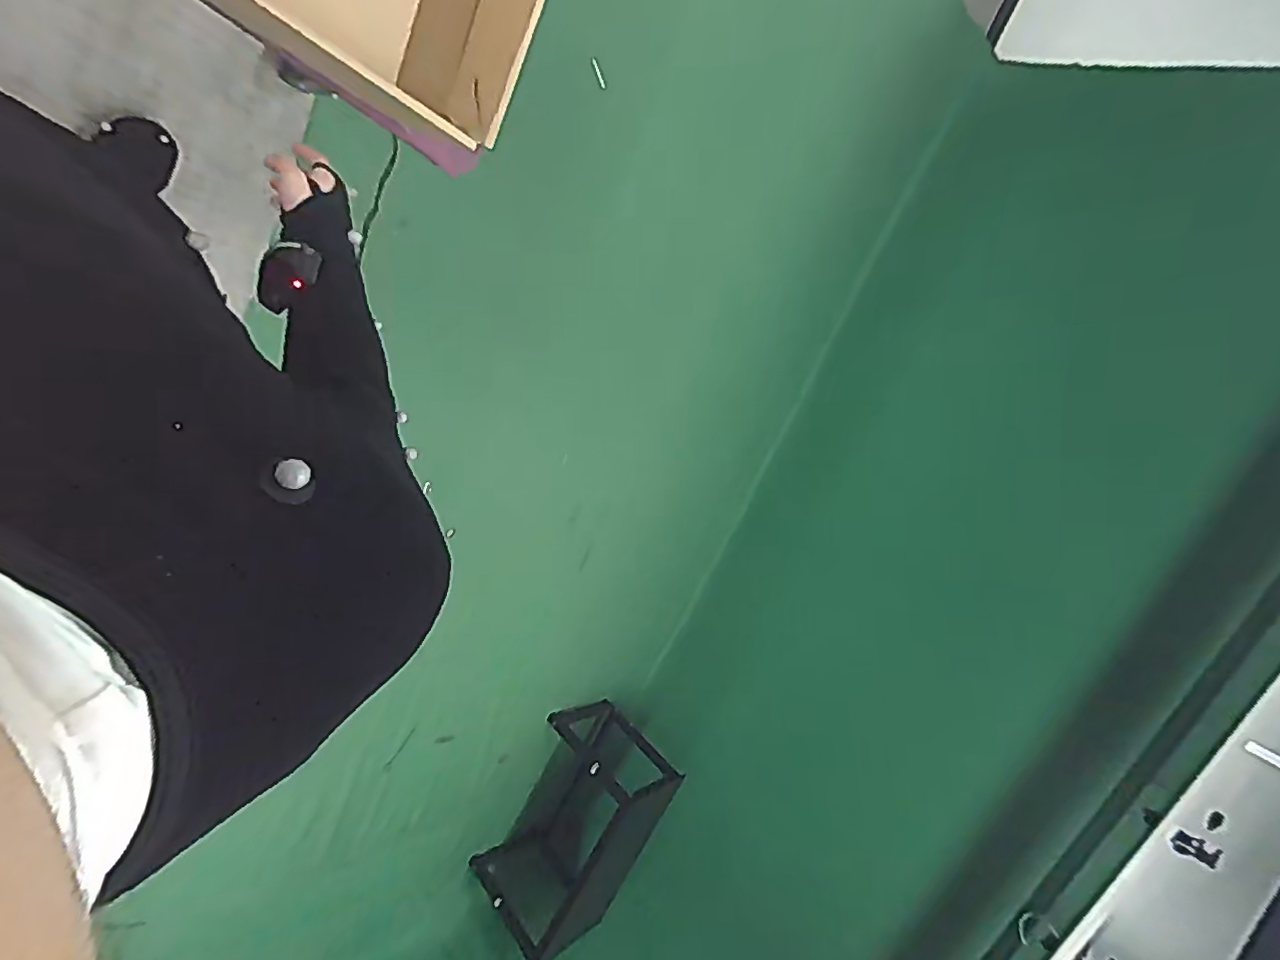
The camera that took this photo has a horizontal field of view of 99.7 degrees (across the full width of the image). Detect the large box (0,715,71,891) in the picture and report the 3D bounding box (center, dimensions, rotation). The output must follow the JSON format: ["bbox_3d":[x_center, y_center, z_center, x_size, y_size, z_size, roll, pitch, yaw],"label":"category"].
[{"bbox_3d":[-1.694,0.835,1.262,0.408,0.320,0.320,-29,138,-35],"label":"large box"}]
